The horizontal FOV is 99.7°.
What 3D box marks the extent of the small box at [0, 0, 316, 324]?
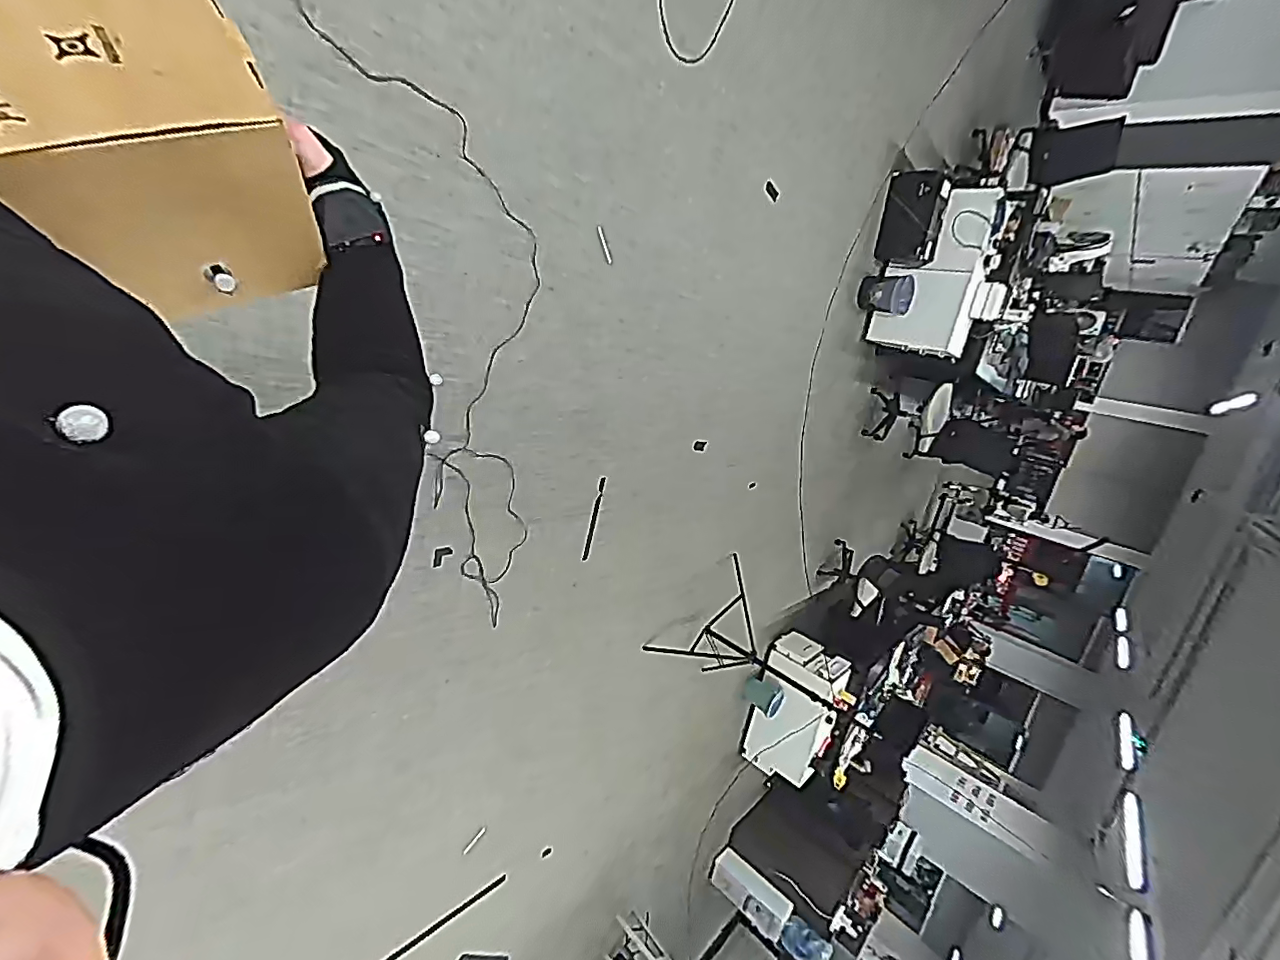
[{"bbox_3d":[-0.397,-0.261,0.449,0.179,0.168,0.176,-28,169,-26],"label":"small box"}]
